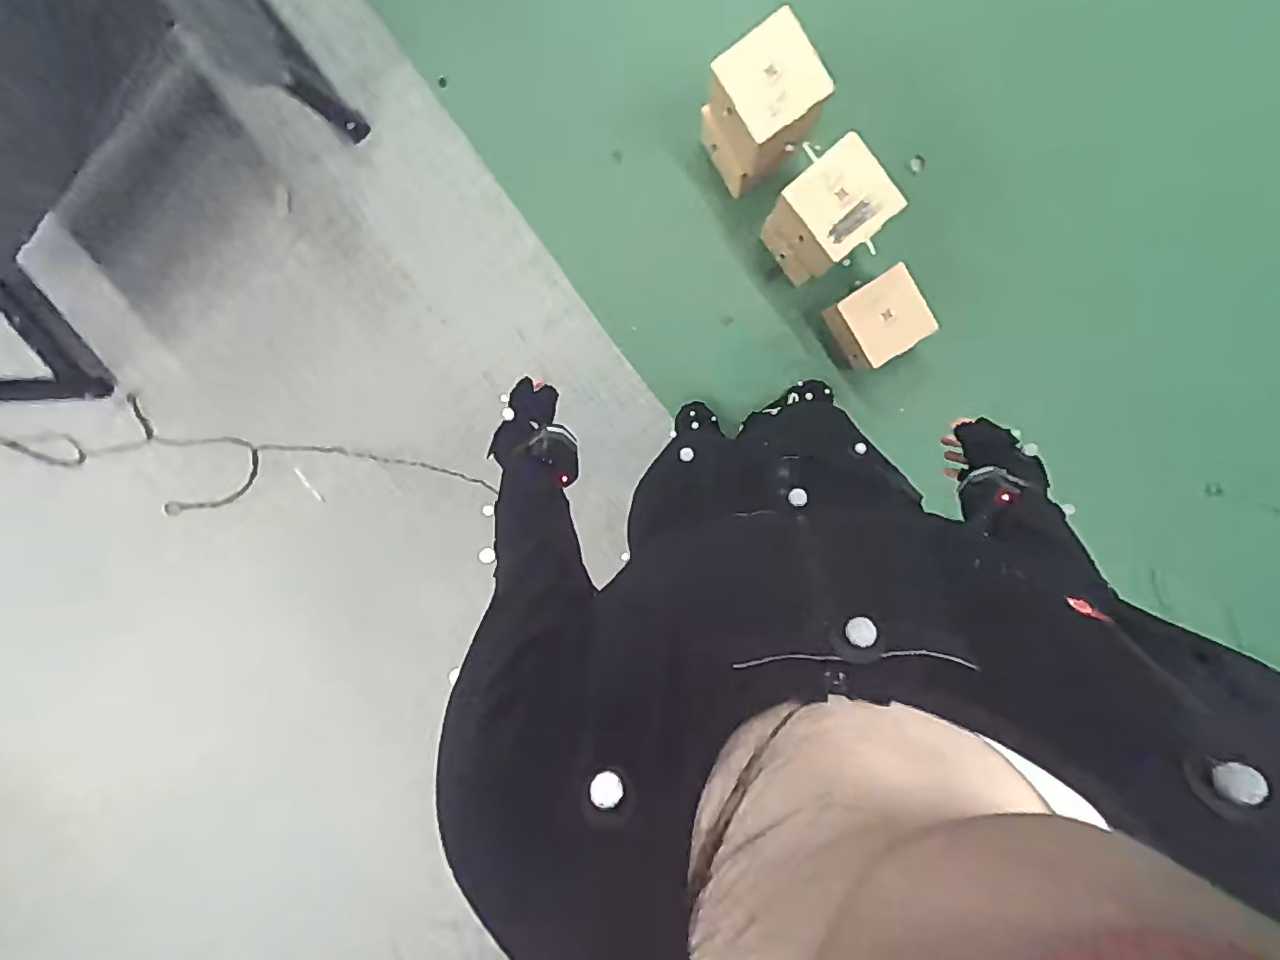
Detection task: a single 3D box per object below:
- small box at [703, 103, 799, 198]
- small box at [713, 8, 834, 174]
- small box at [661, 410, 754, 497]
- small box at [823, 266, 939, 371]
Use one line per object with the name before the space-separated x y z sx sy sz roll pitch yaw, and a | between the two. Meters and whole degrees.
small box | 0.260 -0.792 1.247 0.179 0.176 0.168 -30 95 10
small box | 0.256 -0.762 1.084 0.168 0.176 0.179 -31 95 10
small box | 0.169 -0.073 1.399 0.179 0.176 0.168 23 114 24
small box | 0.564 -0.376 1.289 0.168 0.176 0.179 -32 95 10
